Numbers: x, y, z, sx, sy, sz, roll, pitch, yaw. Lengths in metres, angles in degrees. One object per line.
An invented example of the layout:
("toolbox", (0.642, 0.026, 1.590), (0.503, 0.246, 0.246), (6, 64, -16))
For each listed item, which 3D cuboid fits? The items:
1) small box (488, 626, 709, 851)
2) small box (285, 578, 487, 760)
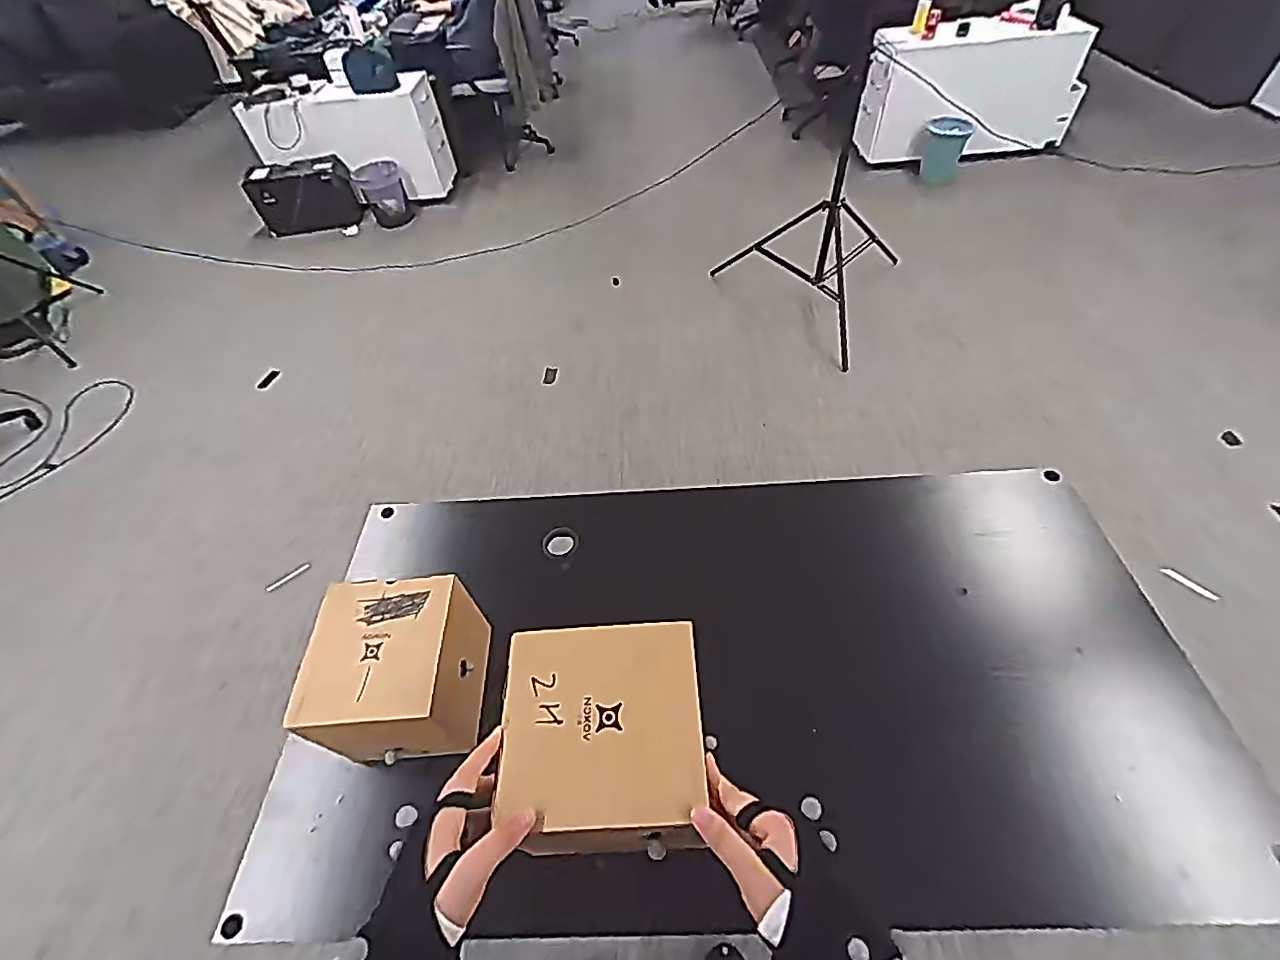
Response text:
("small box", (-0.029, 0.257, 0.531), (0.179, 0.176, 0.168), (-5, 51, 3))
("small box", (-0.307, 0.247, 0.703), (0.168, 0.176, 0.179), (-5, 52, 1))
